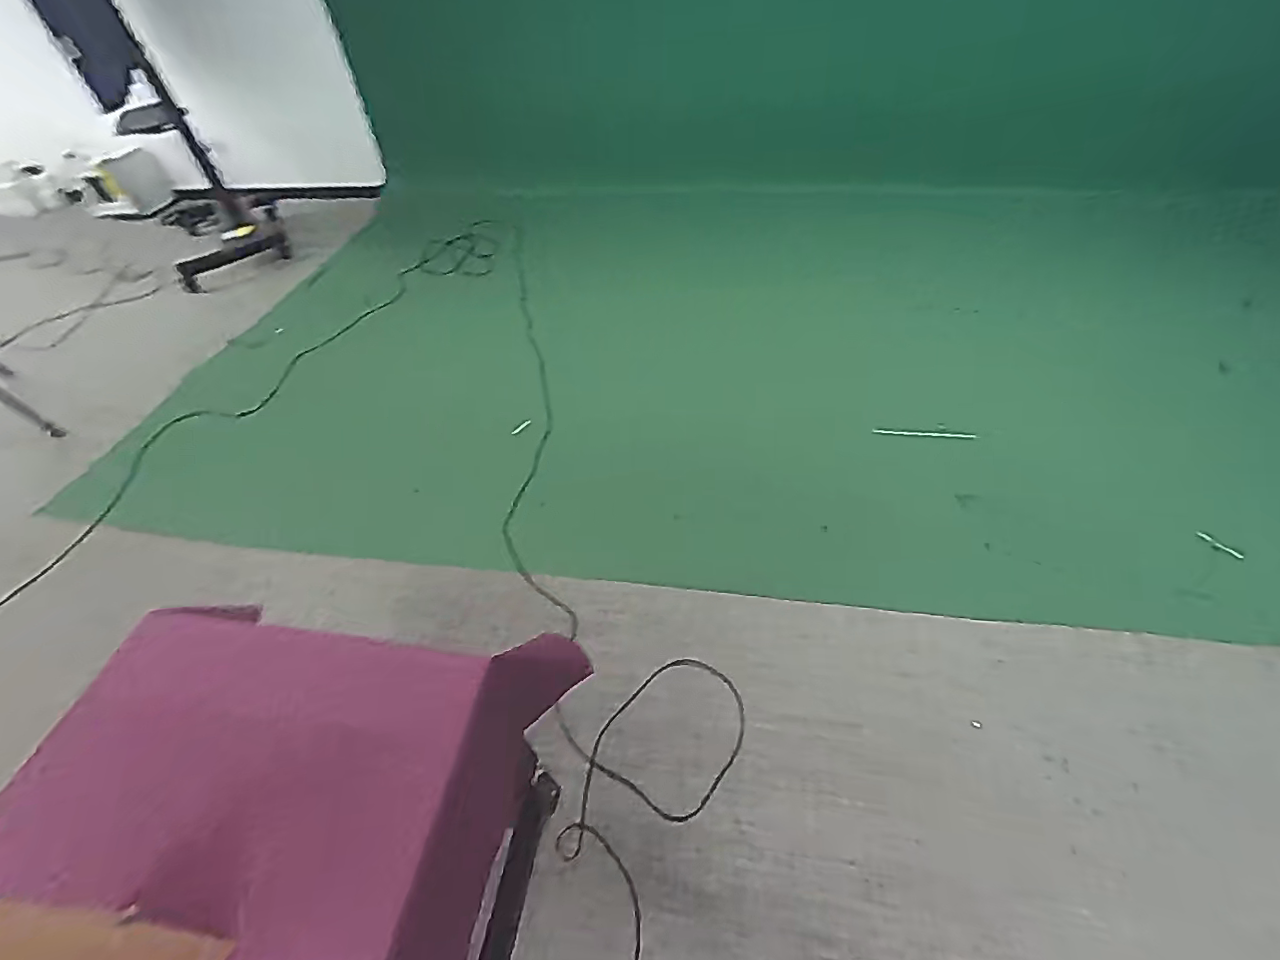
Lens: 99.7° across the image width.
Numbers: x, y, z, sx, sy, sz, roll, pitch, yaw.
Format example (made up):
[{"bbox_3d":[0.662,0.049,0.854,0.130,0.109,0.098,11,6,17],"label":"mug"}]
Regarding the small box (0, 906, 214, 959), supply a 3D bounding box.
[{"bbox_3d":[-0.551,0.530,0.503,0.168,0.176,0.179,5,49,10],"label":"small box"}]
